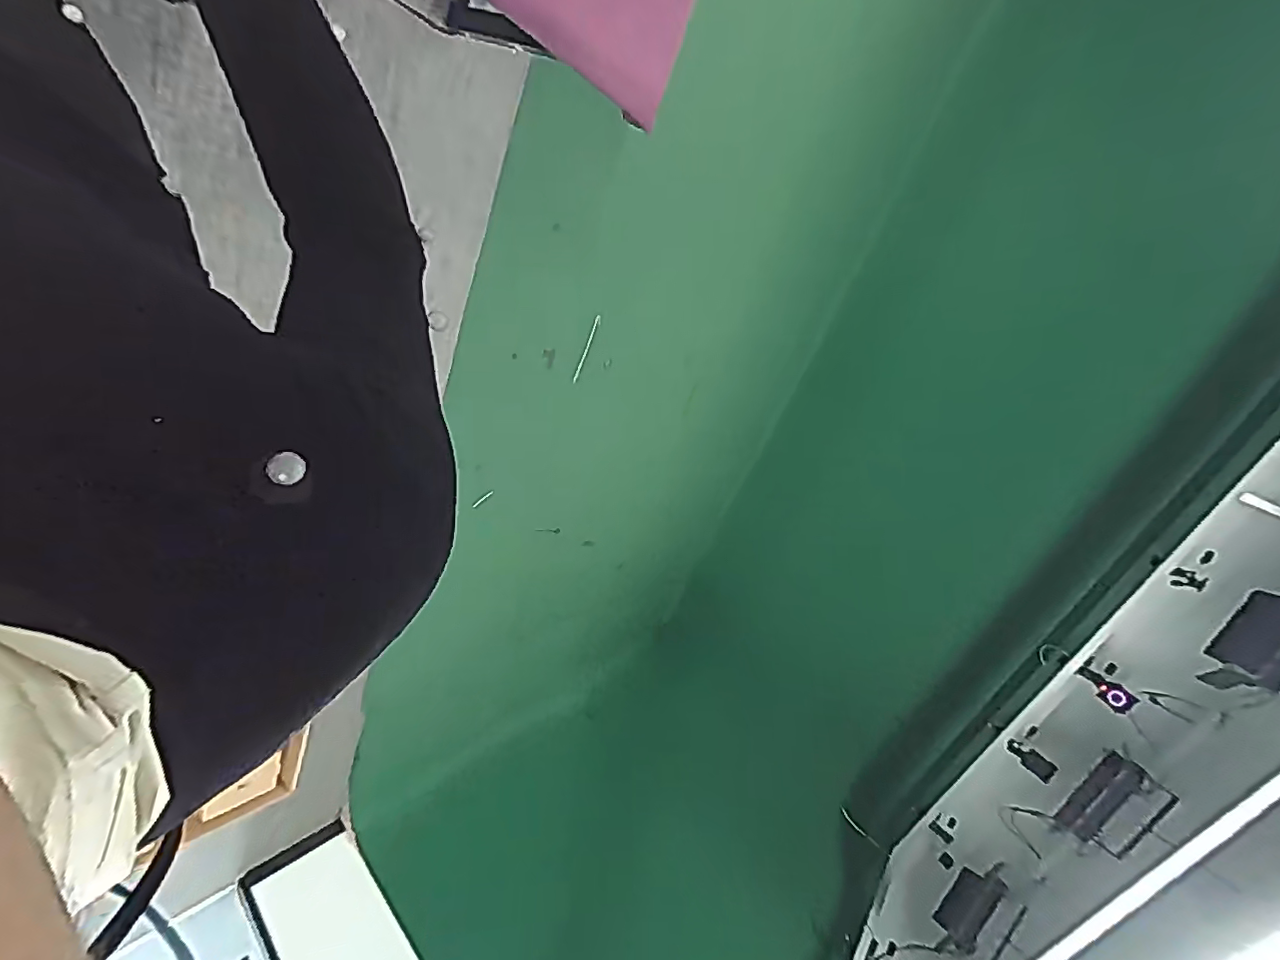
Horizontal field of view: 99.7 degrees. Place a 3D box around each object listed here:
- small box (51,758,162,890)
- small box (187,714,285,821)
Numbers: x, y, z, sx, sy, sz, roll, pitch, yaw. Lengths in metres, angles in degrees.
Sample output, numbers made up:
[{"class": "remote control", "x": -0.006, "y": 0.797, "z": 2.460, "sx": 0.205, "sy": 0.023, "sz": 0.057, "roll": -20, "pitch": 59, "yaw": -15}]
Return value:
[{"class": "small box", "x": -1.300, "y": 0.826, "z": 1.316, "sx": 0.168, "sy": 0.176, "sz": 0.179, "roll": -5, "pitch": 125, "yaw": -53}, {"class": "small box", "x": -1.140, "y": 0.799, "z": 1.524, "sx": 0.179, "sy": 0.176, "sz": 0.168, "roll": -7, "pitch": 127, "yaw": -52}]
